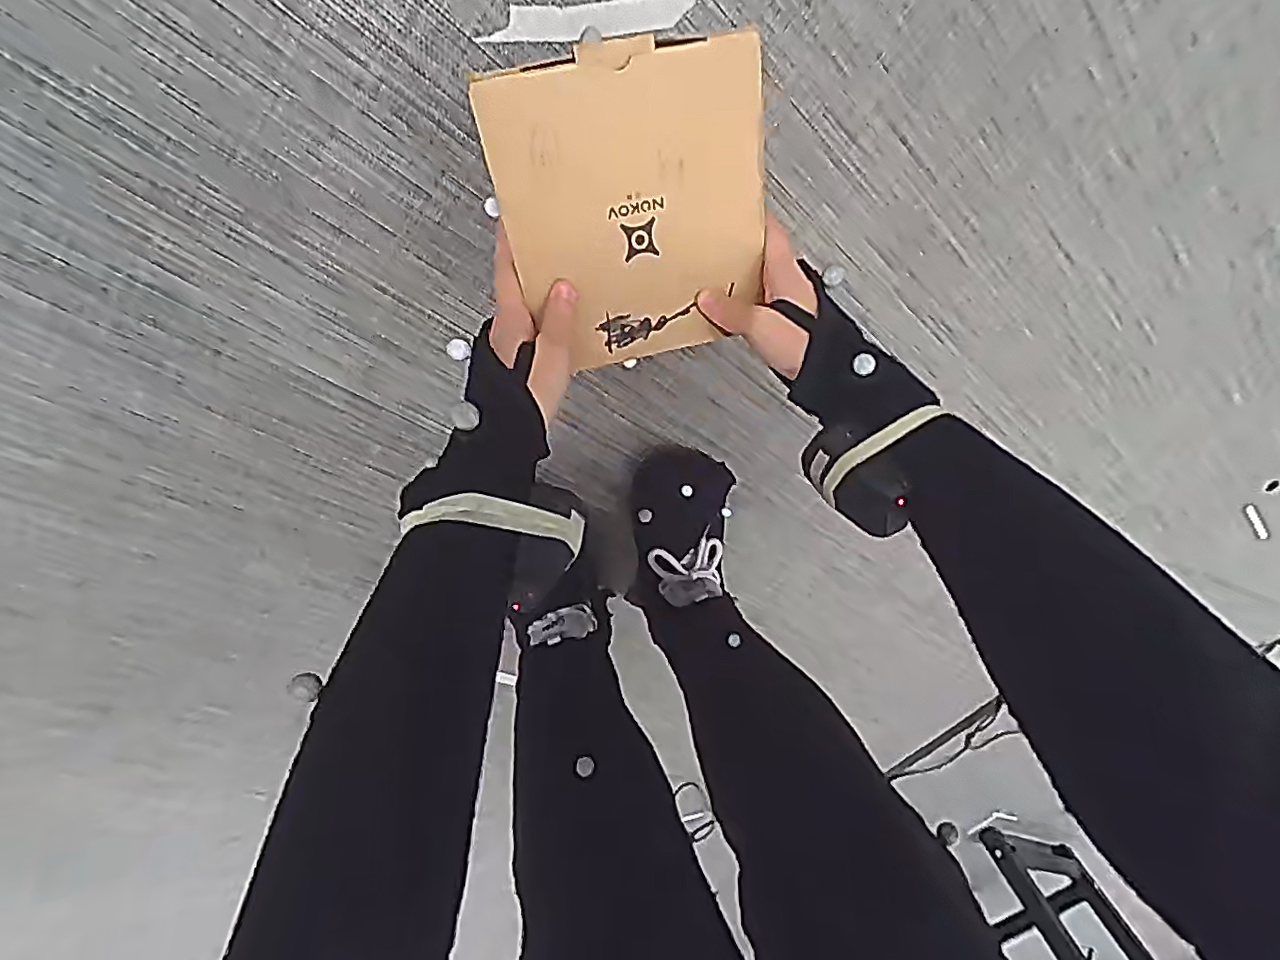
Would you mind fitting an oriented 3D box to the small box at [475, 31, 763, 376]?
[{"bbox_3d":[-0.017,-0.203,0.406,0.168,0.176,0.179,-14,125,-5],"label":"small box"}]
